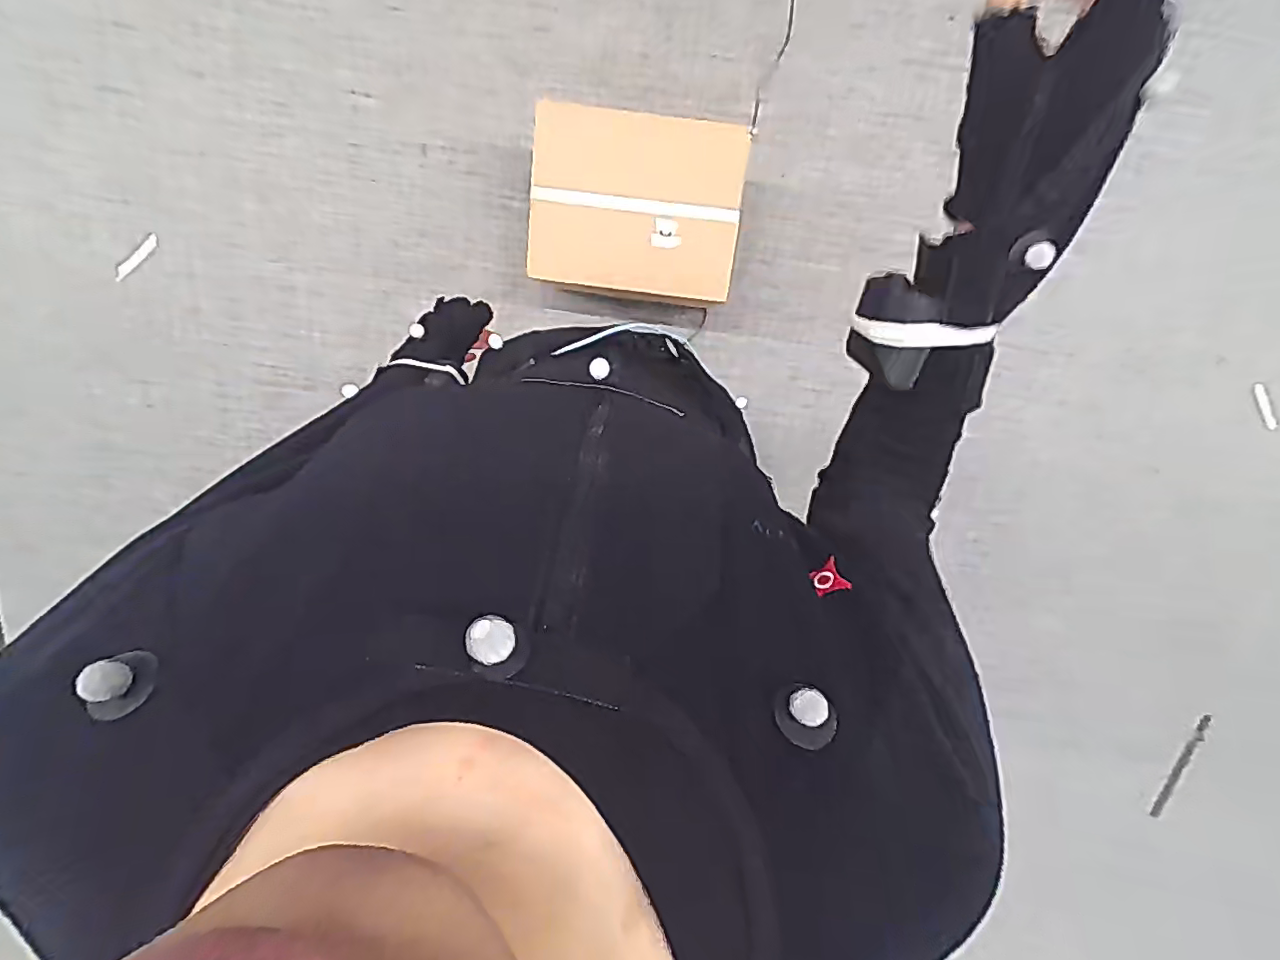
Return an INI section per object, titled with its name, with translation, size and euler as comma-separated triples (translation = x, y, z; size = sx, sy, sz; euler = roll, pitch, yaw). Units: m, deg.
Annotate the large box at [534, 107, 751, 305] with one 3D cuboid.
[large box]
translation = -0.003, -0.574, 1.199
size = 0.408, 0.320, 0.320
euler = 7, 107, -1
